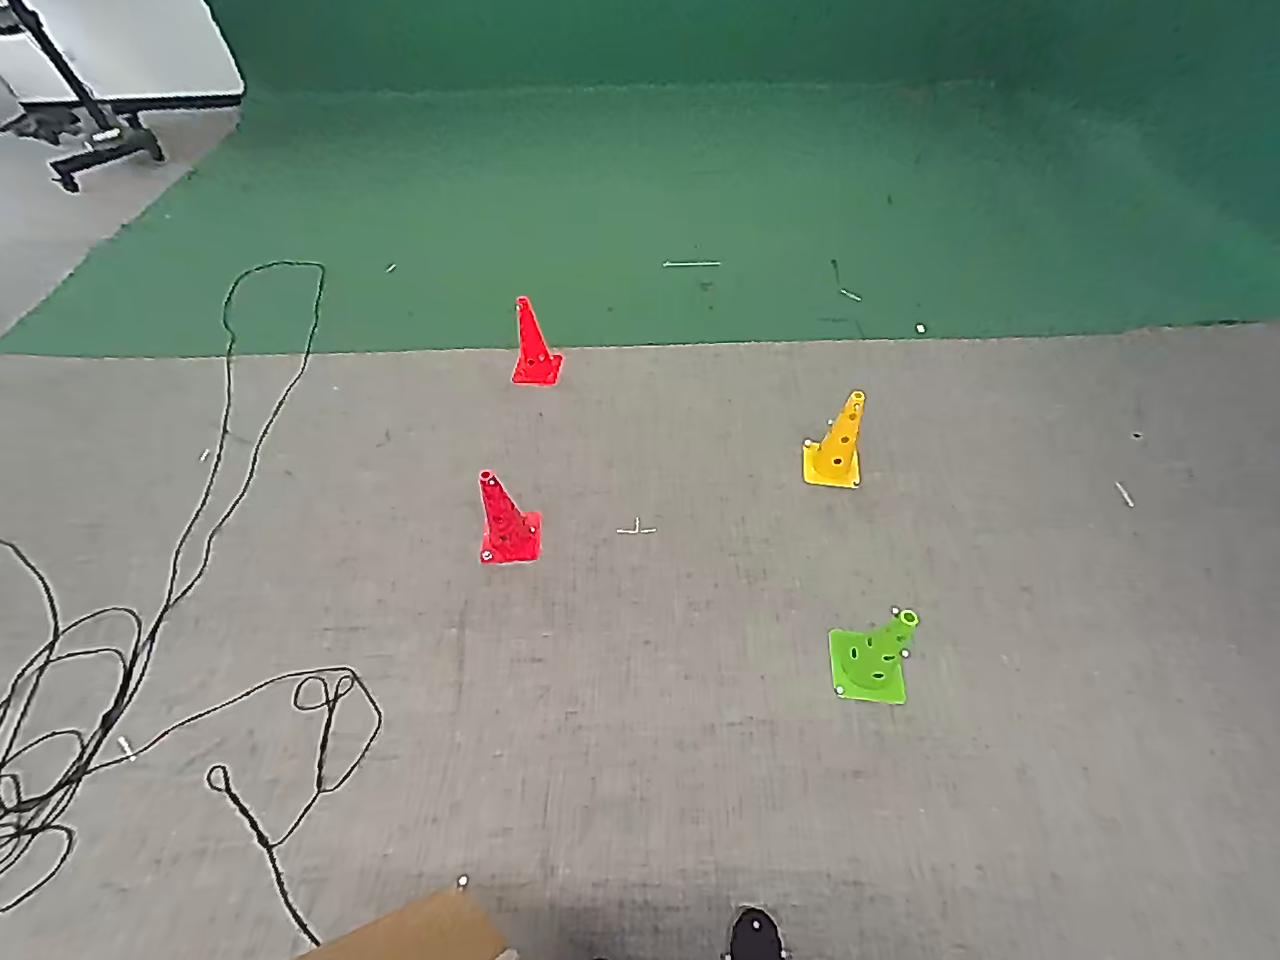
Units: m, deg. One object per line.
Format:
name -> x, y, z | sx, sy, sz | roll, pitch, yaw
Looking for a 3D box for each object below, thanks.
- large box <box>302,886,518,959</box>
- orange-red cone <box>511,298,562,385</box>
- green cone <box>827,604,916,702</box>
large box -> -0.347, 0.819, 0.668 | 0.320, 0.408, 0.320 | 29, 81, 27
orange-red cone -> -0.462, -0.595, 2.258 | 0.199, 0.360, 0.198 | 4, 52, 7
green cone -> 0.657, 0.434, 1.448 | 0.200, 0.368, 0.202 | 4, 52, 4
